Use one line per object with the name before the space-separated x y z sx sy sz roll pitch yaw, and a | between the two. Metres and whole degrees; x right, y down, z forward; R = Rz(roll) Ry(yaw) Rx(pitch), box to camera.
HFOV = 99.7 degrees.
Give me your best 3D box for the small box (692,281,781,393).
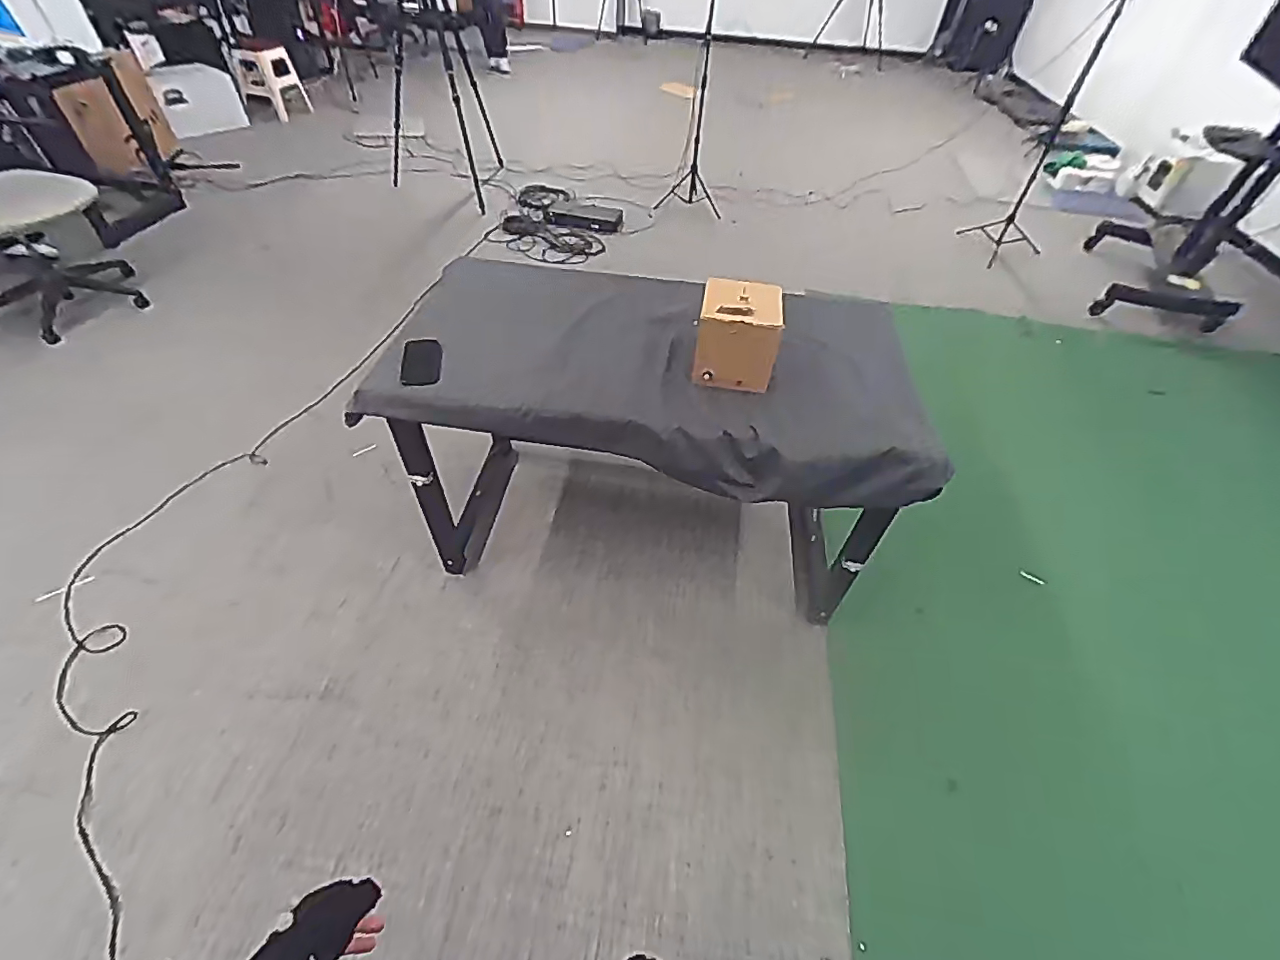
small box | 0.212 -0.314 1.199 0.168 0.176 0.179 9 46 4
